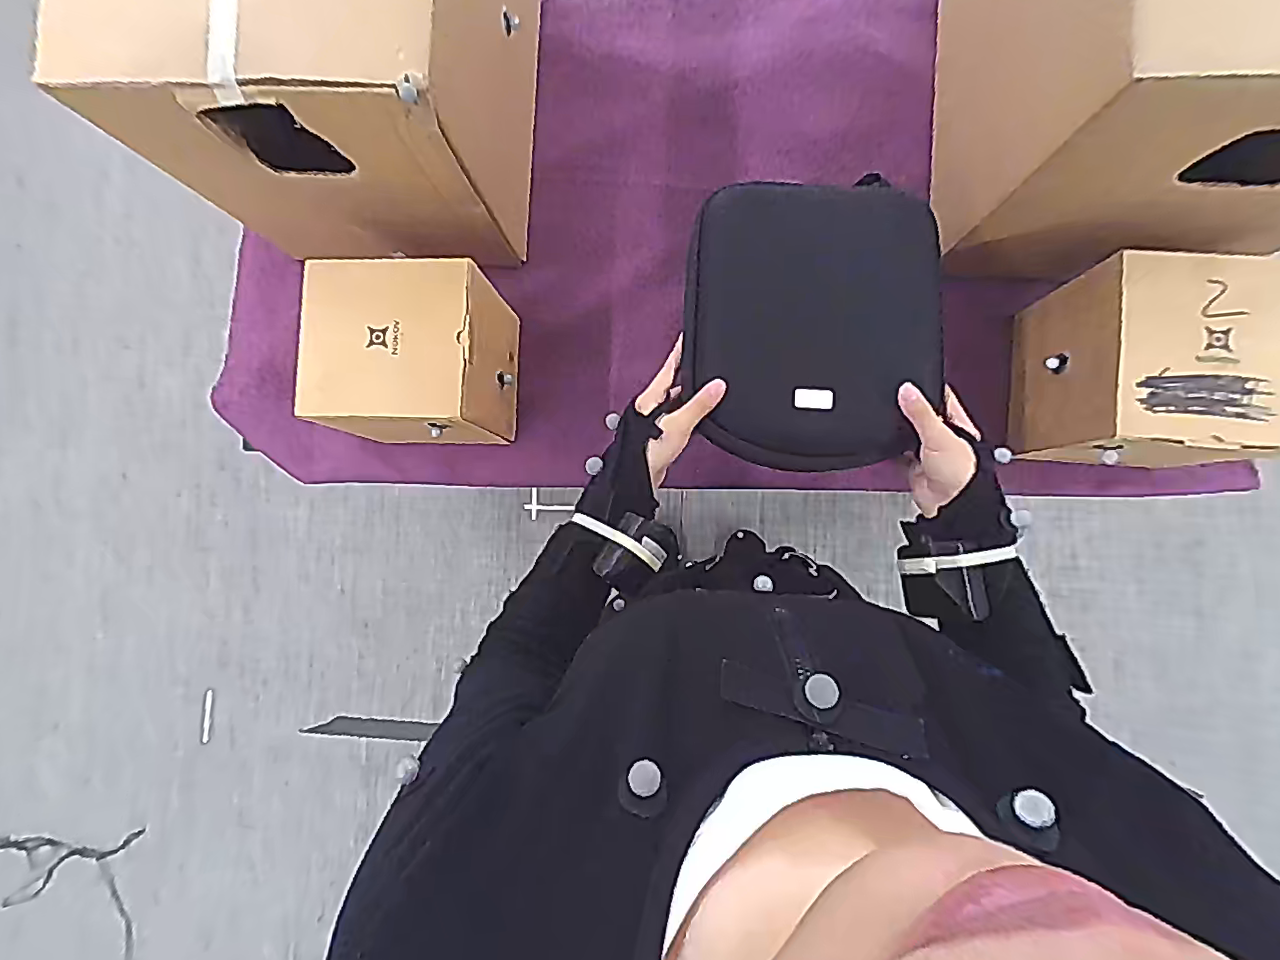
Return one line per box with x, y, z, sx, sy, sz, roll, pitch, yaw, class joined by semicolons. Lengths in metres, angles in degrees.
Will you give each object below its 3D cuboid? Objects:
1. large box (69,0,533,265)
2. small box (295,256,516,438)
-0.301;-0.492;0.581;0.320;0.320;0.408;2;89;3;large box
-0.258;-0.142;0.630;0.179;0.176;0.168;0;86;4;small box
